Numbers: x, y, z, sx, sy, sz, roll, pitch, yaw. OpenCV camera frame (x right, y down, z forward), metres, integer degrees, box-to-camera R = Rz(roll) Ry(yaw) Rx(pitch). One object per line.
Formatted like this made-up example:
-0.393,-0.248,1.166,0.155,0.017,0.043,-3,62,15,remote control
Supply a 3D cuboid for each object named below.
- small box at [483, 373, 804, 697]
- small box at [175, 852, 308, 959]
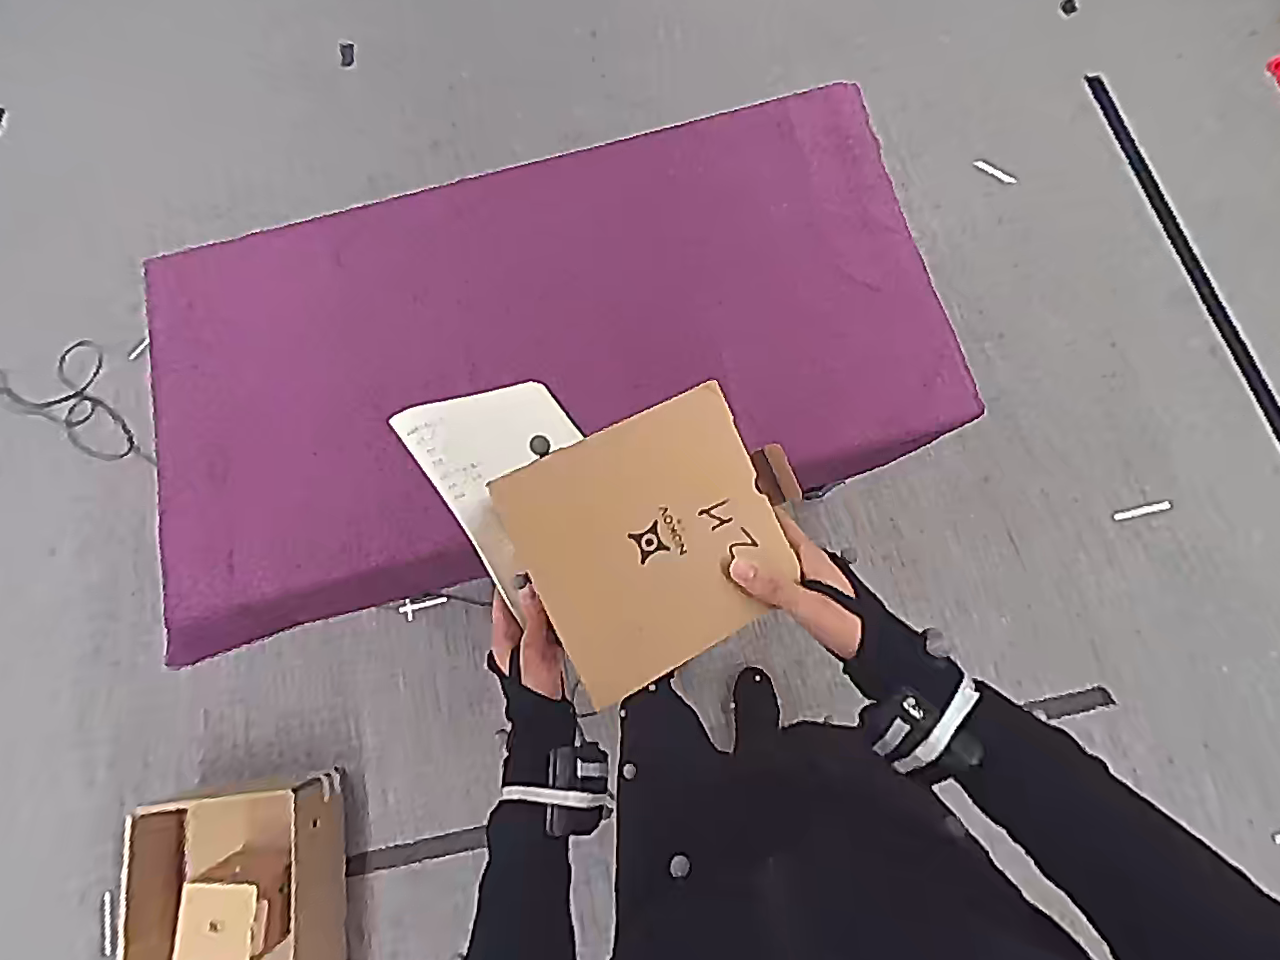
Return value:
-0.010,0.037,0.435,0.179,0.176,0.168,-25,93,-15,small box
-0.897,0.978,1.234,0.179,0.176,0.168,-1,78,3,small box
